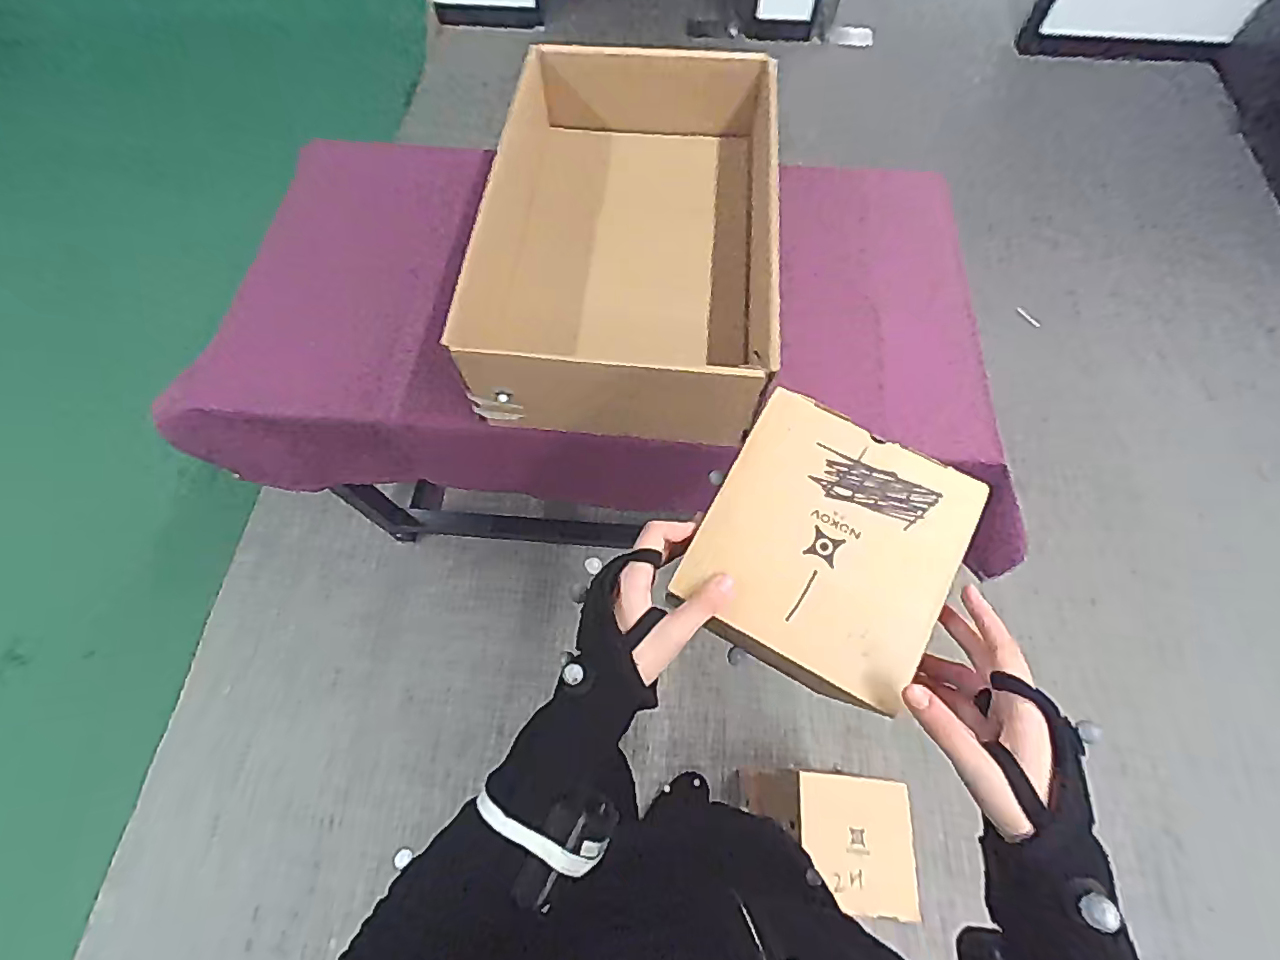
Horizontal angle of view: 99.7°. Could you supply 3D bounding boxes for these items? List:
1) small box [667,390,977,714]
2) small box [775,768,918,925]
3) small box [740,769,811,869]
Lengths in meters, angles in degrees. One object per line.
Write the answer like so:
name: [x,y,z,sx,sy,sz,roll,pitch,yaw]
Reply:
small box: [0.130,0.062,0.450,0.168,0.176,0.179,27,77,10]
small box: [0.317,0.570,0.866,0.168,0.176,0.179,5,65,3]
small box: [0.314,0.720,1.160,0.179,0.176,0.168,-1,65,-1]
